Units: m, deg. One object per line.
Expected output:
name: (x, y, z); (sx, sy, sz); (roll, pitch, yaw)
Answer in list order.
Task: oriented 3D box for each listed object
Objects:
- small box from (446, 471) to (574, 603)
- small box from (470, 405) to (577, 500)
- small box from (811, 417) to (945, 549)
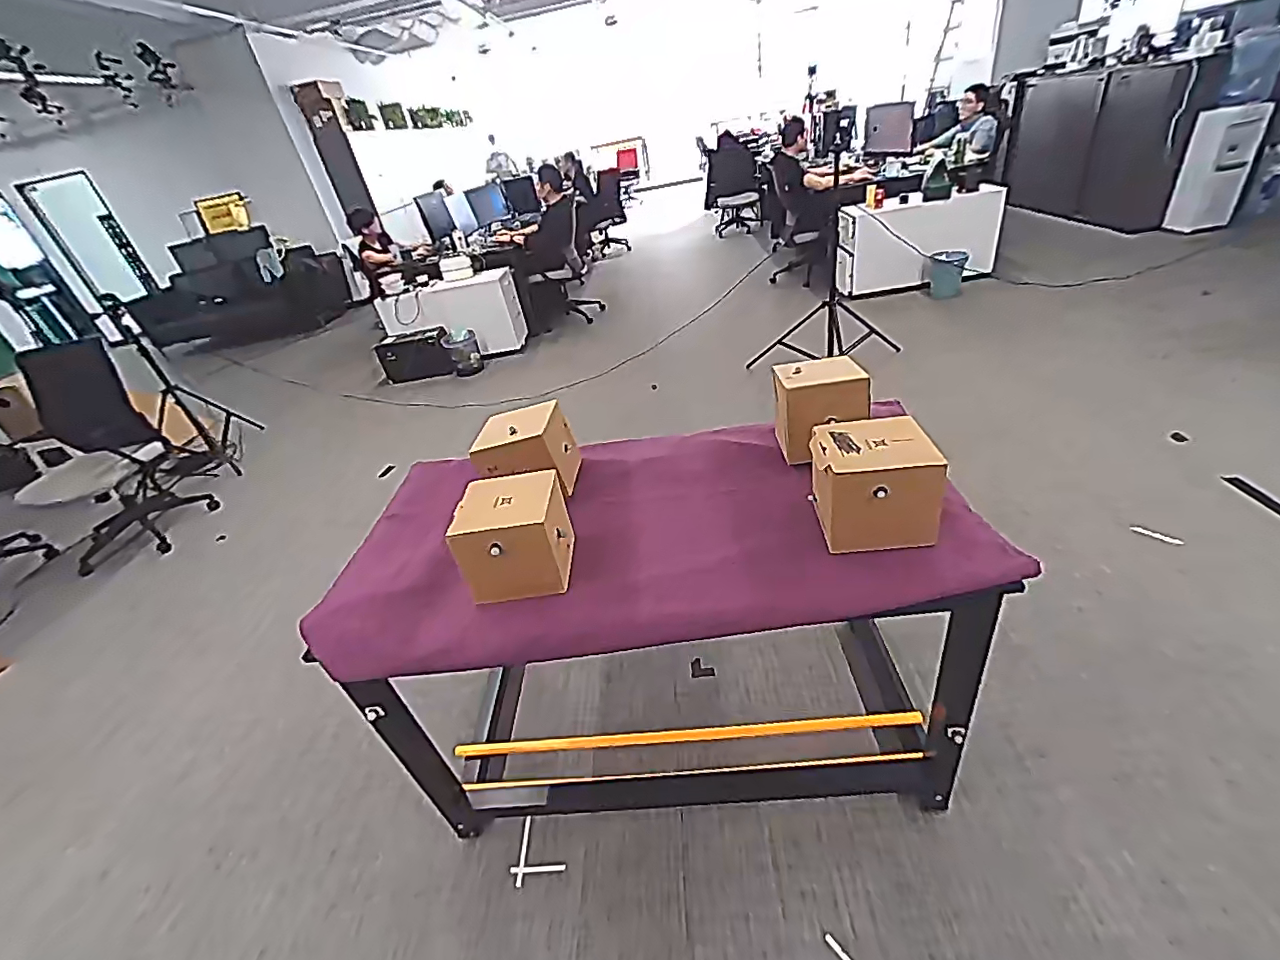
small box: (-0.229, 0.107, 1.009); (0.179, 0.176, 0.168); (-9, 33, 5)
small box: (-0.252, -0.053, 1.232); (0.179, 0.168, 0.176); (-12, 31, 13)
small box: (0.407, 0.008, 0.952); (0.179, 0.176, 0.168); (-6, 32, 8)
